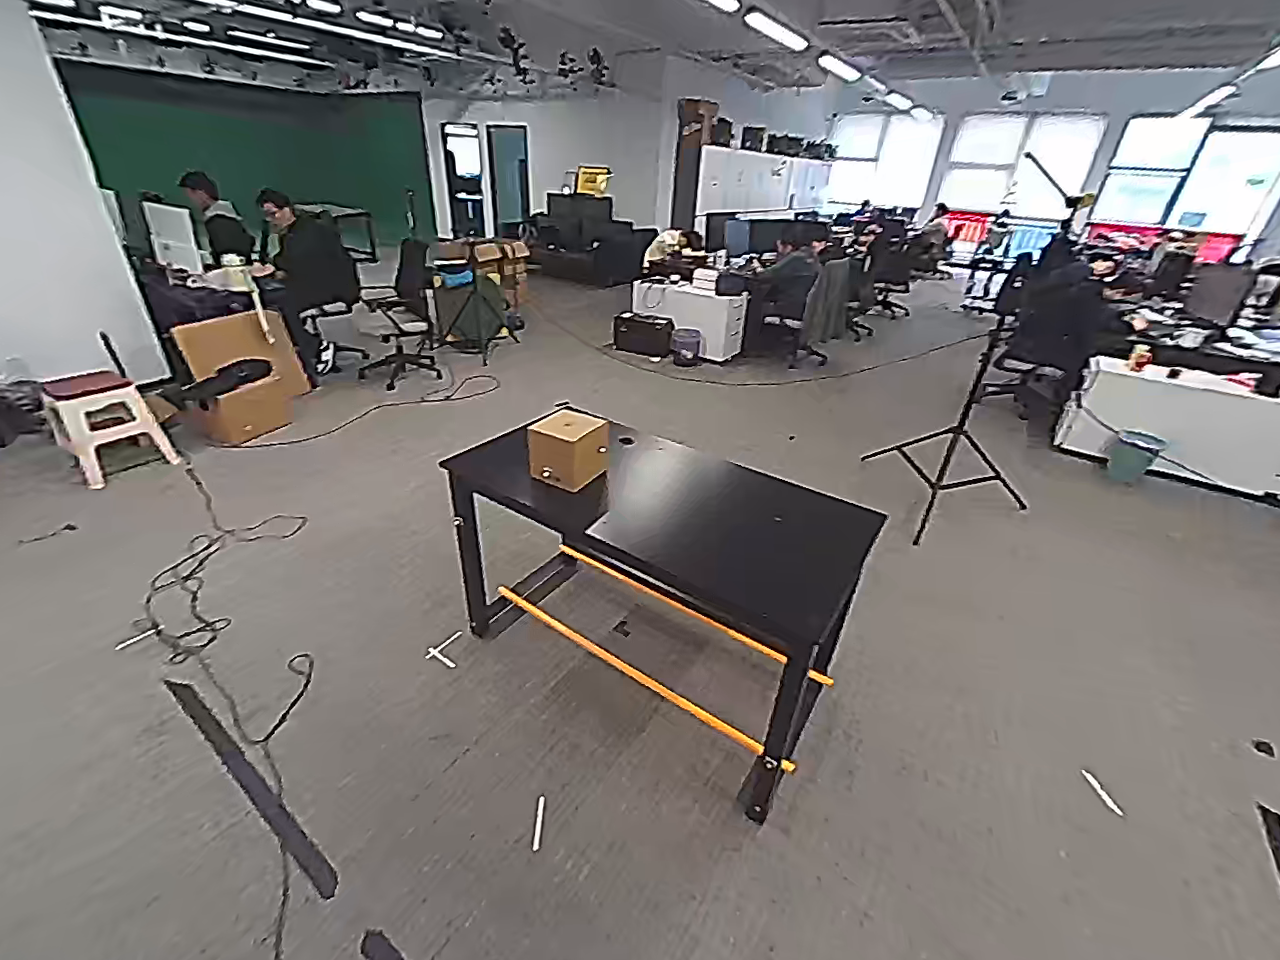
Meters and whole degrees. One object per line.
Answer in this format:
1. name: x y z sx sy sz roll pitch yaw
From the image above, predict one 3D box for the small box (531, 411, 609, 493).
1. small box: -0.209 -0.084 1.616 0.168 0.176 0.179 17 33 24
